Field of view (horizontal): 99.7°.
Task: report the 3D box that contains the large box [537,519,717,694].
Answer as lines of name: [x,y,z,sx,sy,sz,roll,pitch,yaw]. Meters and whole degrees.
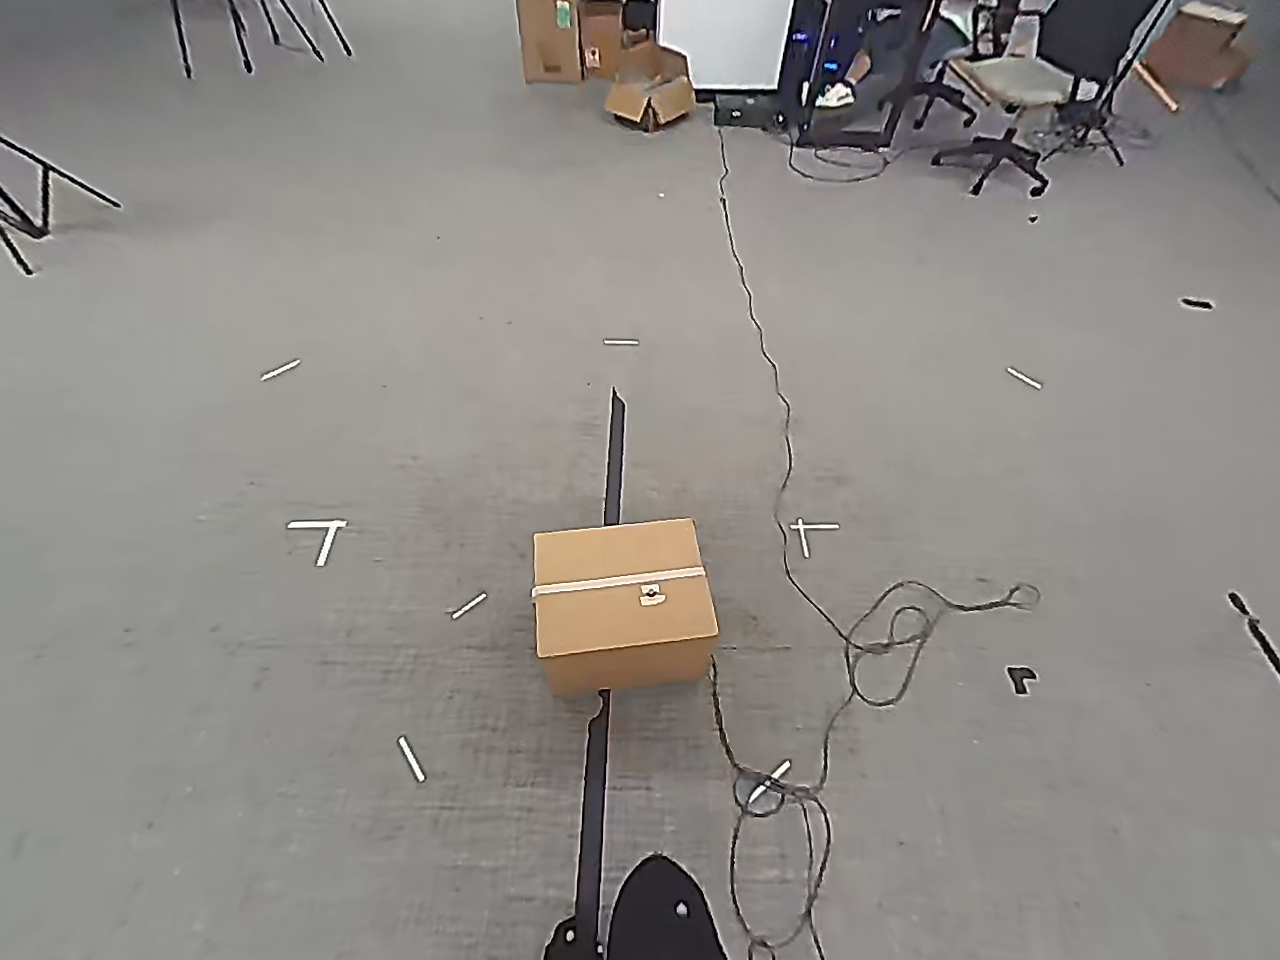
large box: [-0.046,0.330,1.397,0.408,0.320,0.320,-5,53,-6]
